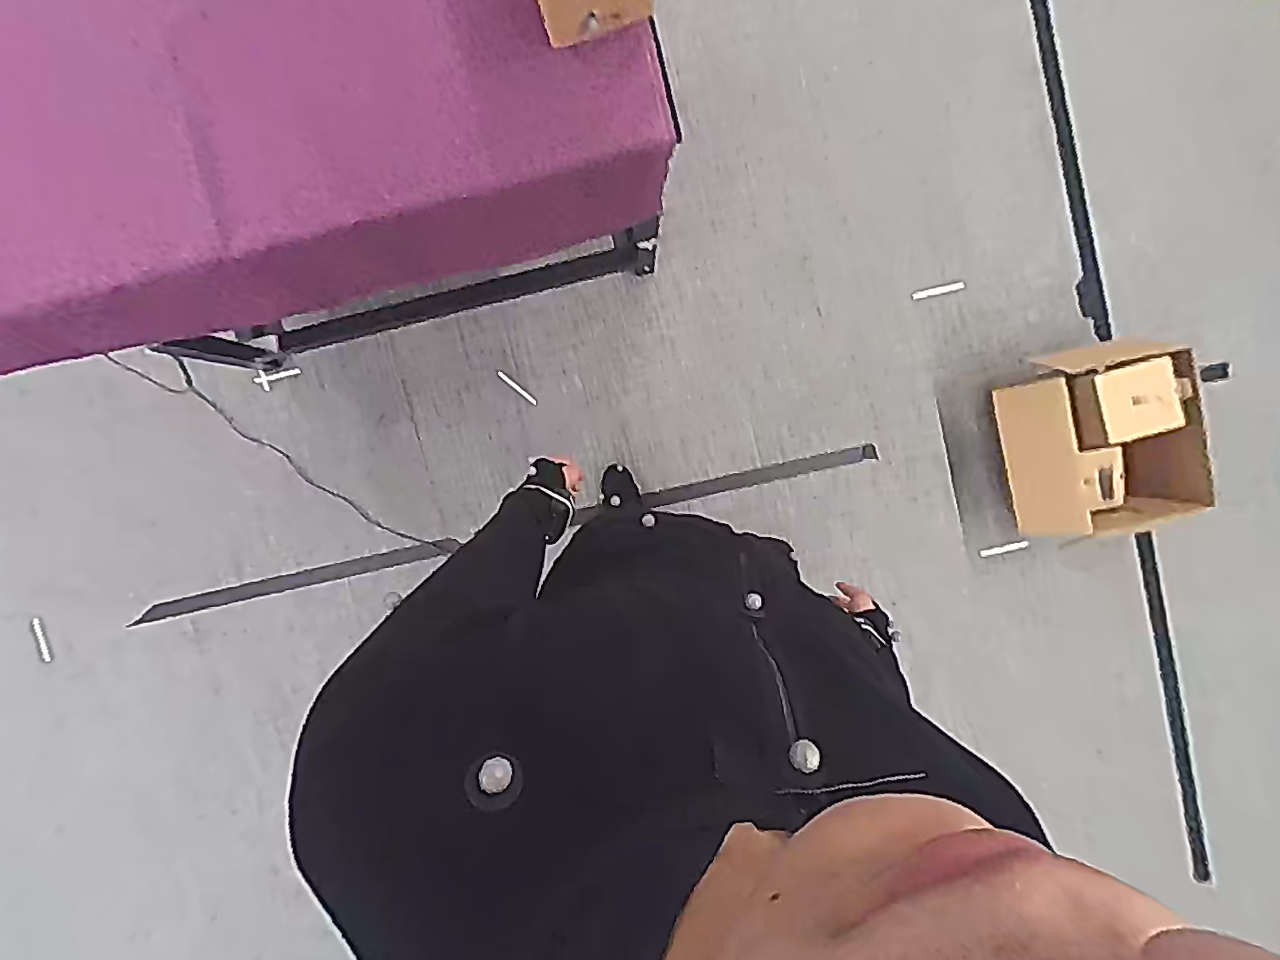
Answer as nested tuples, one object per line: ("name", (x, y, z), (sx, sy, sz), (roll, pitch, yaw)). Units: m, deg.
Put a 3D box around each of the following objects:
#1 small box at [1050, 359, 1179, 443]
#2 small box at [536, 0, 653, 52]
("small box", (1.162, -0.189, 1.343), (0.179, 0.176, 0.168), (-15, 95, 1))
("small box", (-0.083, -0.755, 0.744), (0.168, 0.176, 0.179), (-18, 94, 3))
